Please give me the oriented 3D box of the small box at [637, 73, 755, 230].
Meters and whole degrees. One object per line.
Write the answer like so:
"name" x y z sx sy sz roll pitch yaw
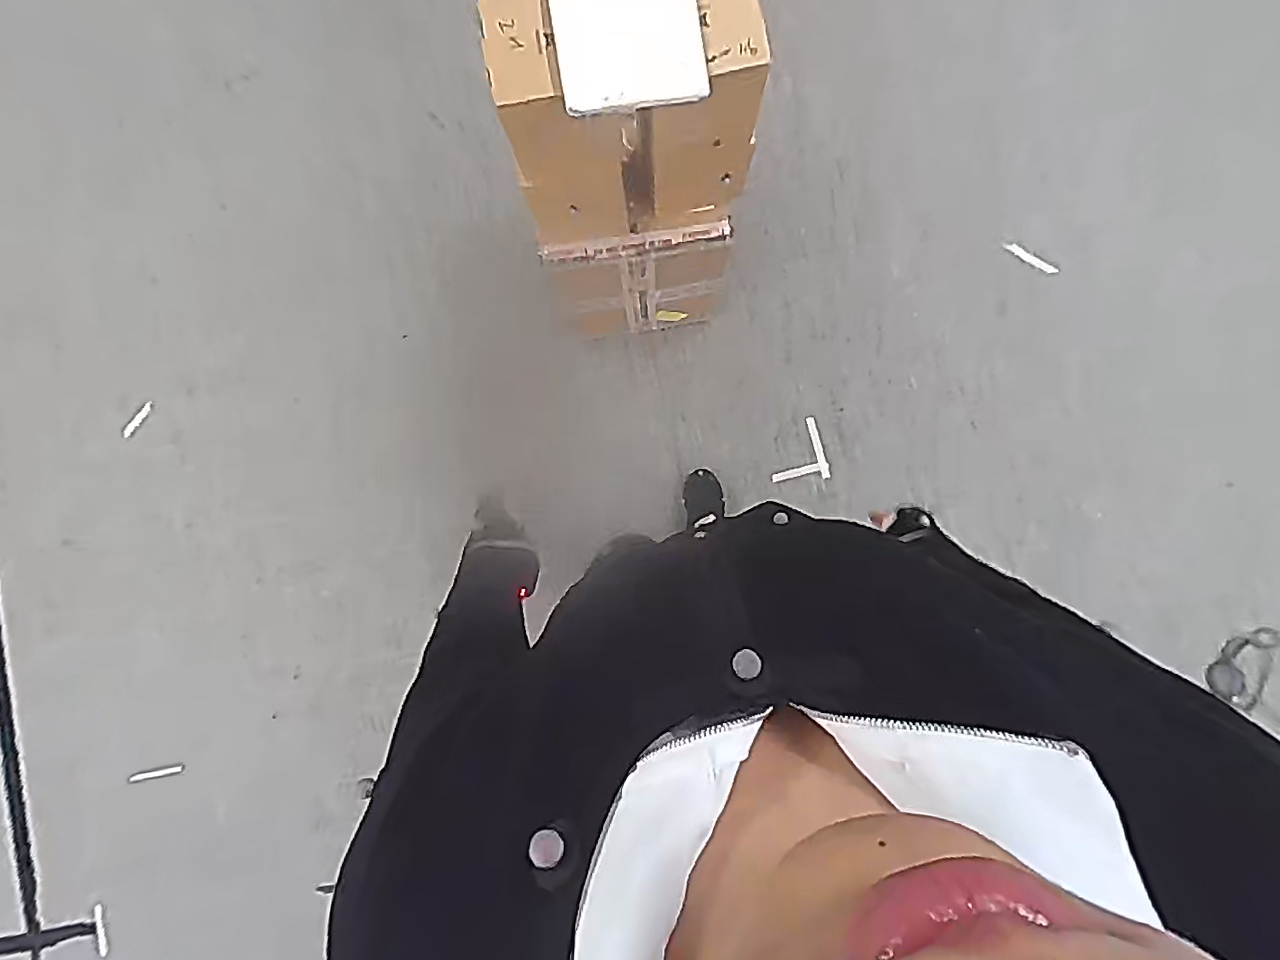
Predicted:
"small box" 0.096 -0.595 1.001 0.179 0.176 0.168 -13 87 1

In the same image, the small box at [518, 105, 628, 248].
"small box" -0.115 -0.554 1.007 0.179 0.176 0.168 -5 88 3
